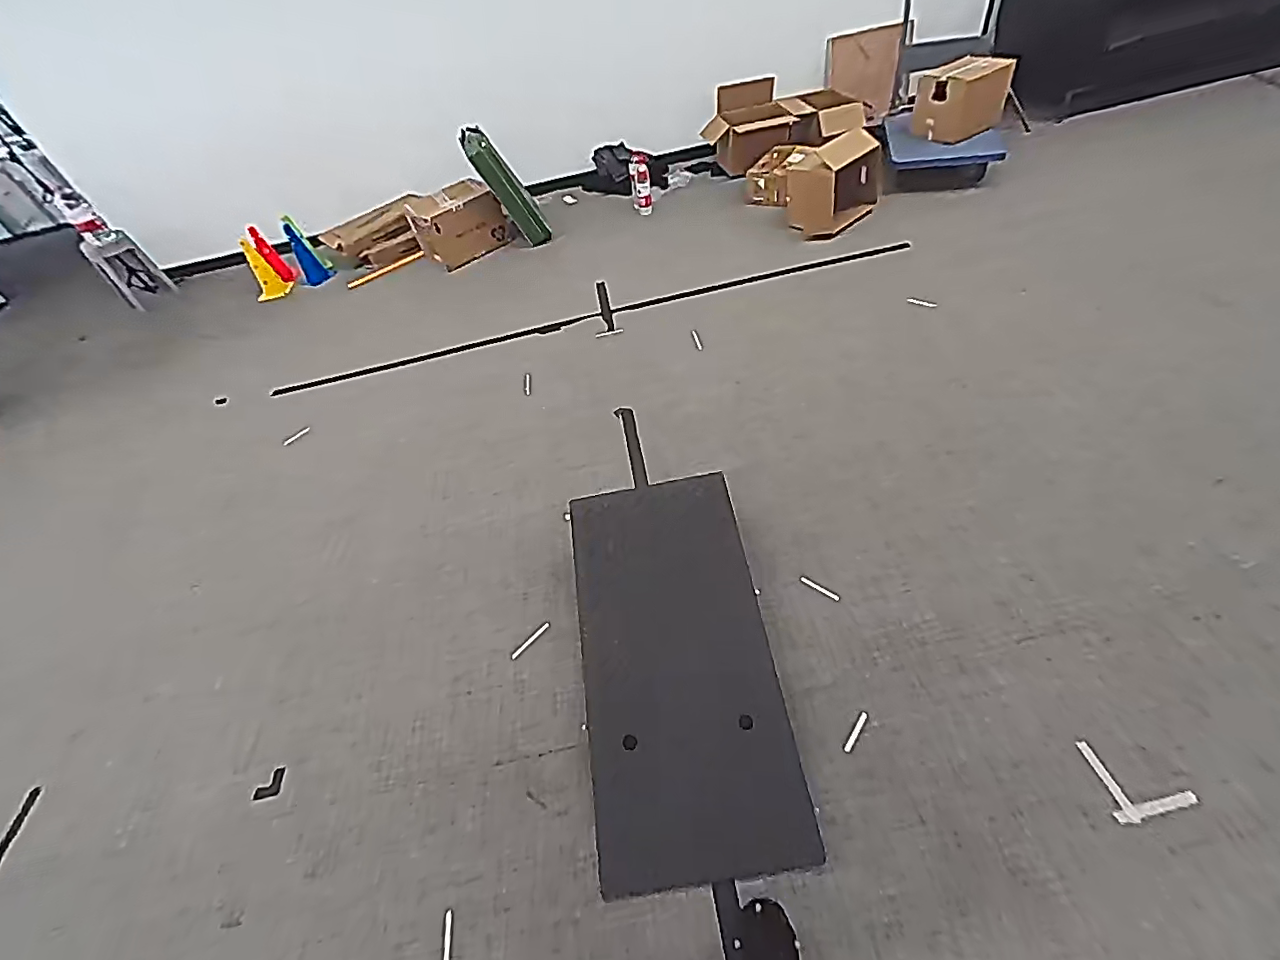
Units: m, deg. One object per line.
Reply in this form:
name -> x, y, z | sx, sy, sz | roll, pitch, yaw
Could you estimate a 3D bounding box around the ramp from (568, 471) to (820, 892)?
ramp -> 0.085, 0.433, 1.426 | 0.509, 0.206, 0.991 | -11, 48, 0
